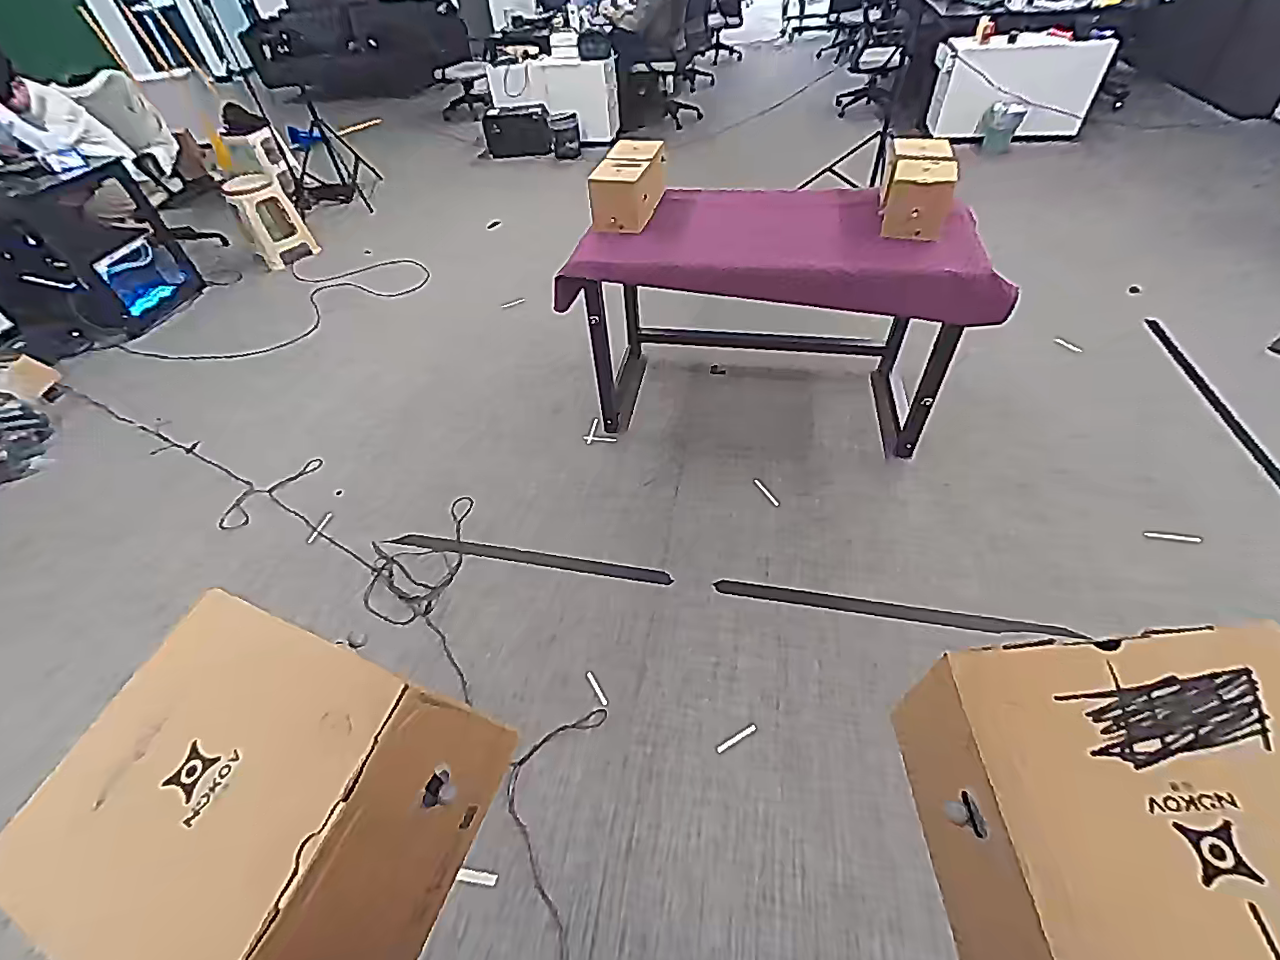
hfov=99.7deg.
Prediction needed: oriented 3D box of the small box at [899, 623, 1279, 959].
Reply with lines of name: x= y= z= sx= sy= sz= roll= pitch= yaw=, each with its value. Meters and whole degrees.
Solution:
small box: x=0.270 y=0.201 z=0.311 sx=0.168 sy=0.176 sz=0.179 roll=-9 pitch=56 yaw=8

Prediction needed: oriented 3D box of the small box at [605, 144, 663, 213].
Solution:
small box: x=-0.016 y=-1.076 z=1.926 sx=0.168 sy=0.176 sz=0.179 roll=9 pitch=50 yaw=13

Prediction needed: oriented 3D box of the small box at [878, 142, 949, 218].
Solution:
small box: x=0.883 y=-0.979 z=1.762 sx=0.168 sy=0.176 sz=0.179 roll=9 pitch=48 yaw=12

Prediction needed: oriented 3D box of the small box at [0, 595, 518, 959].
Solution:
small box: x=-0.208 y=0.201 z=0.349 sx=0.179 sy=0.176 sz=0.168 roll=13 pitch=59 yaw=21
